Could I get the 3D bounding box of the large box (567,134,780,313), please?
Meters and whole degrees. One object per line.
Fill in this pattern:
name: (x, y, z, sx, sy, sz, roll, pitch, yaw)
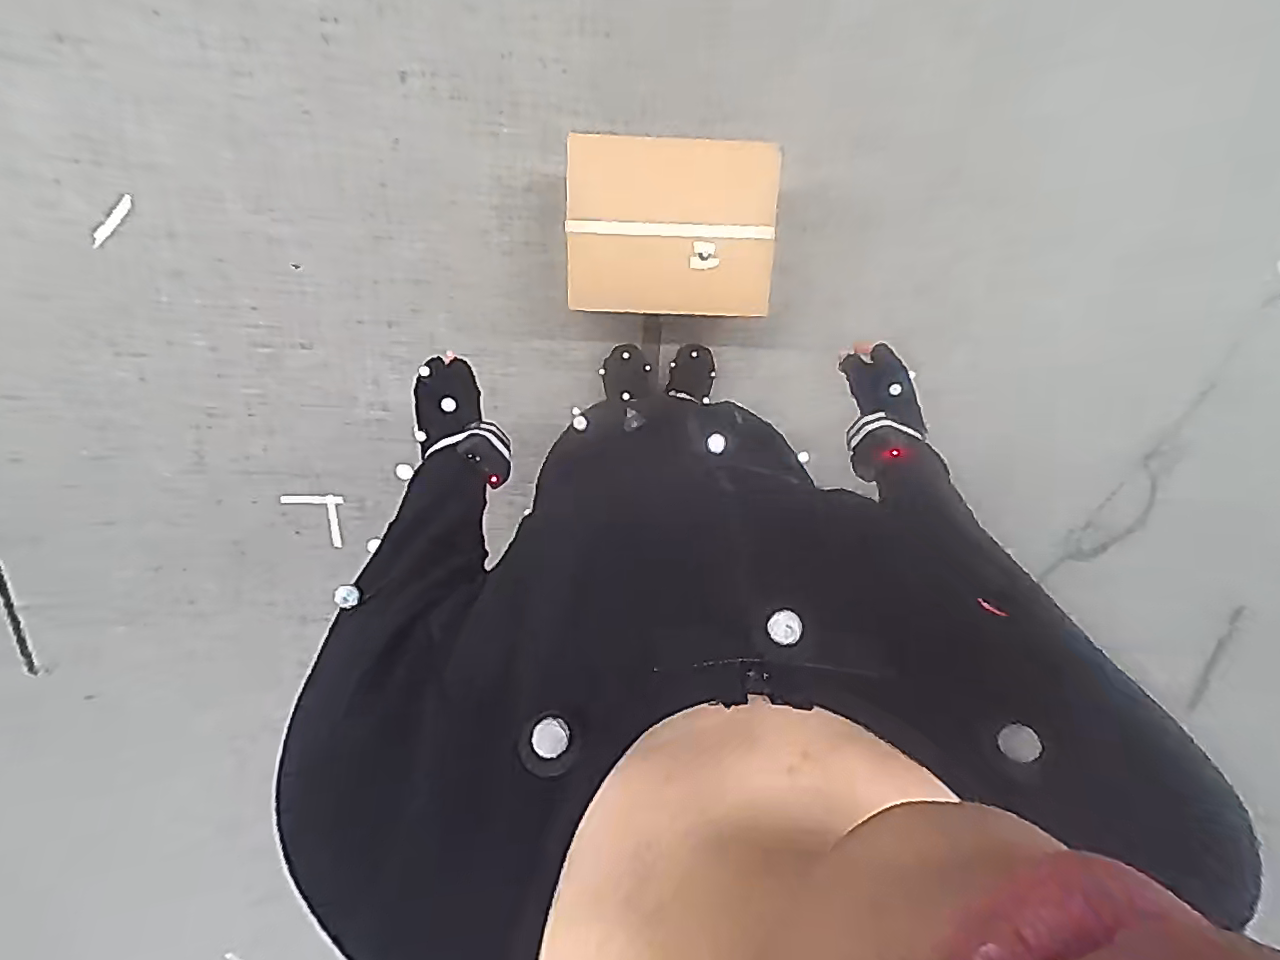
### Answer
large box: (0.055, -0.532, 1.188, 0.408, 0.320, 0.320, 1, 108, -2)
